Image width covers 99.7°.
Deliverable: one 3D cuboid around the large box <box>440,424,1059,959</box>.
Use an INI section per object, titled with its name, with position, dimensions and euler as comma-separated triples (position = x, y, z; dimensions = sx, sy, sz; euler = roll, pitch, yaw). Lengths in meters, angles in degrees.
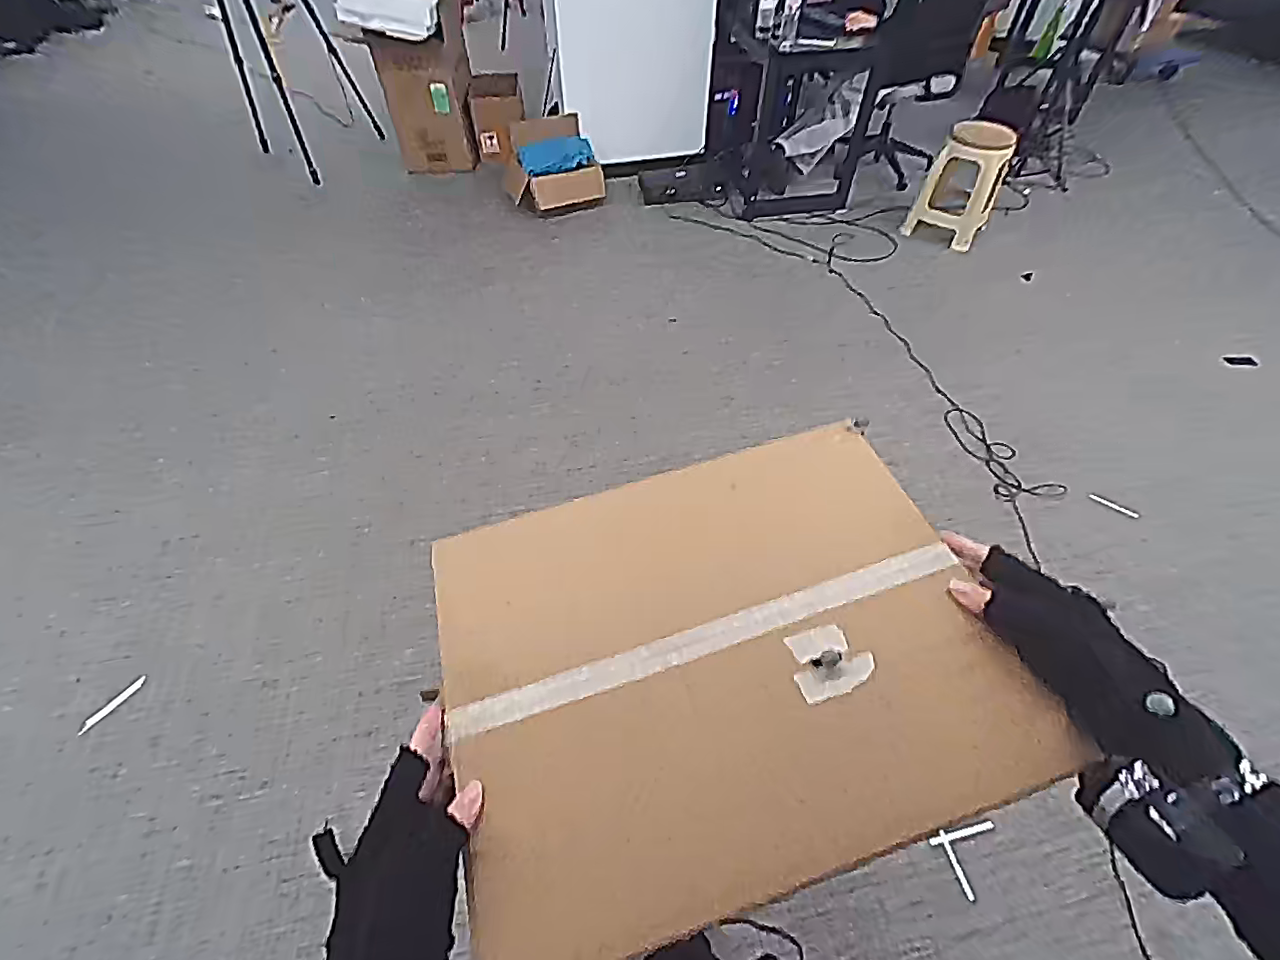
[large box]
position = 0.063, 0.203, 0.546
dimensions = 0.408, 0.320, 0.320
euler = -17, 56, -8
